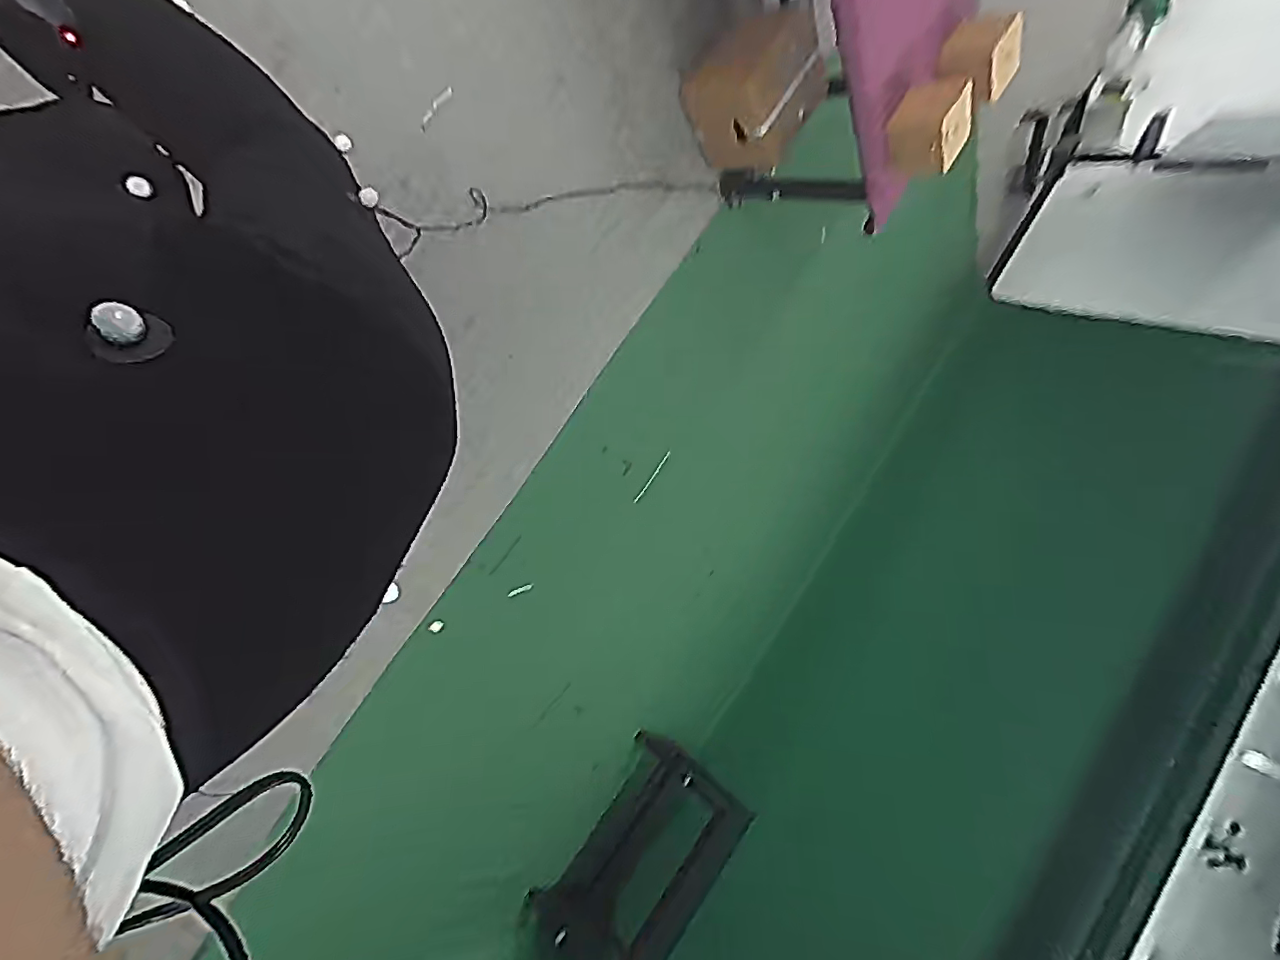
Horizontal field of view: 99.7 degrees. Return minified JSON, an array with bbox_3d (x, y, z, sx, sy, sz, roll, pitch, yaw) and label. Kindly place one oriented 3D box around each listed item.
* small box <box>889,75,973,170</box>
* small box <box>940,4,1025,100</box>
[{"bbox_3d":[0.874,-1.068,1.626,0.179,0.176,0.168,-57,139,-10],"label":"small box"},{"bbox_3d":[1.059,-1.317,1.678,0.179,0.176,0.168,-54,138,-7],"label":"small box"}]
